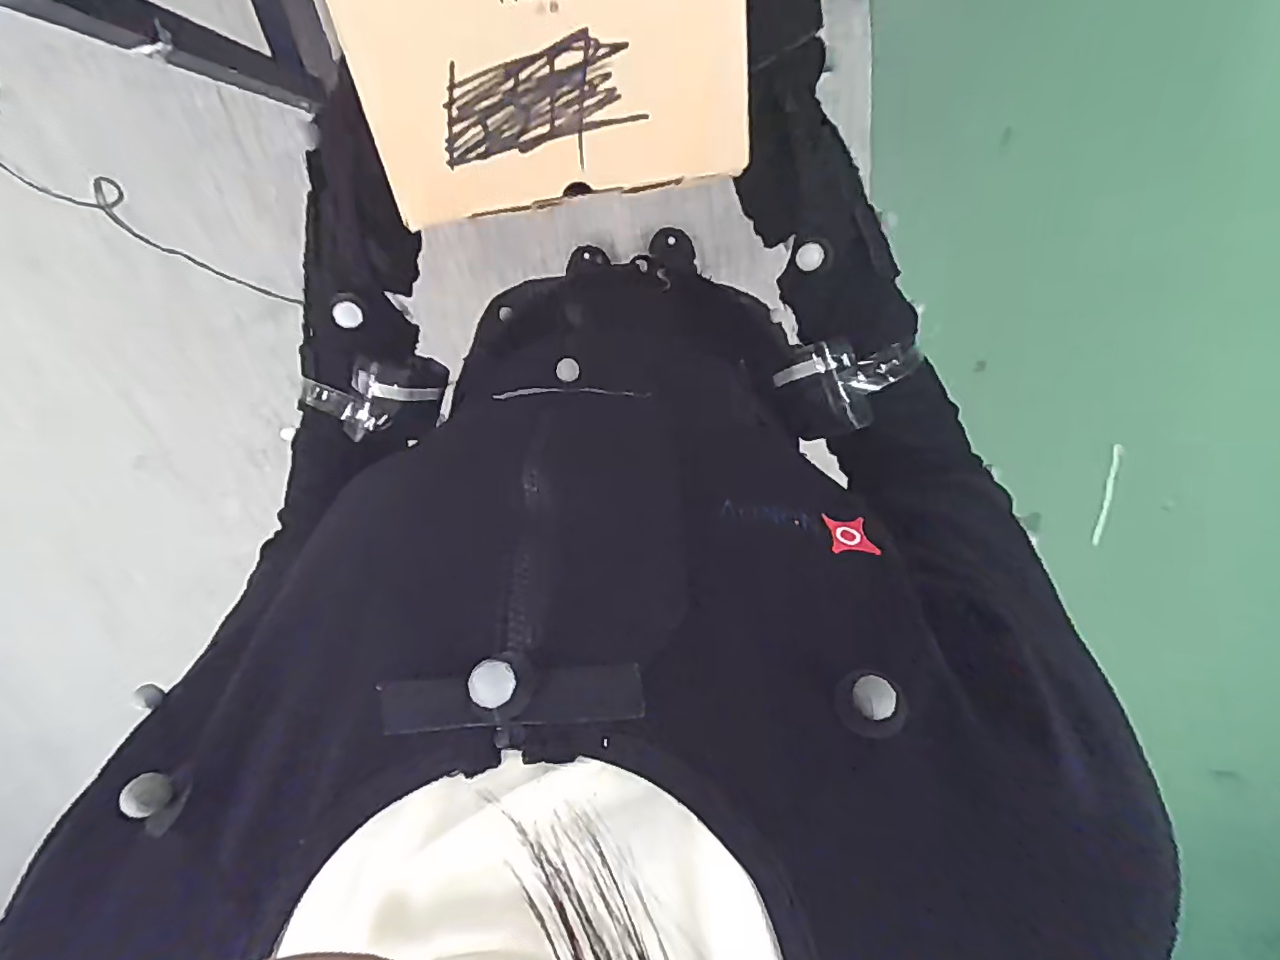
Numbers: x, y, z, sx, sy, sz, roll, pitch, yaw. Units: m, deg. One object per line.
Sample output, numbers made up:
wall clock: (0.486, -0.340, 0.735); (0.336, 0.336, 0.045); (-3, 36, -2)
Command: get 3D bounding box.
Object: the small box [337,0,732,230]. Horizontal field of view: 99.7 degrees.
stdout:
small box: (-0.051, -0.251, 0.287); (0.168, 0.176, 0.179); (-9, 124, -2)
